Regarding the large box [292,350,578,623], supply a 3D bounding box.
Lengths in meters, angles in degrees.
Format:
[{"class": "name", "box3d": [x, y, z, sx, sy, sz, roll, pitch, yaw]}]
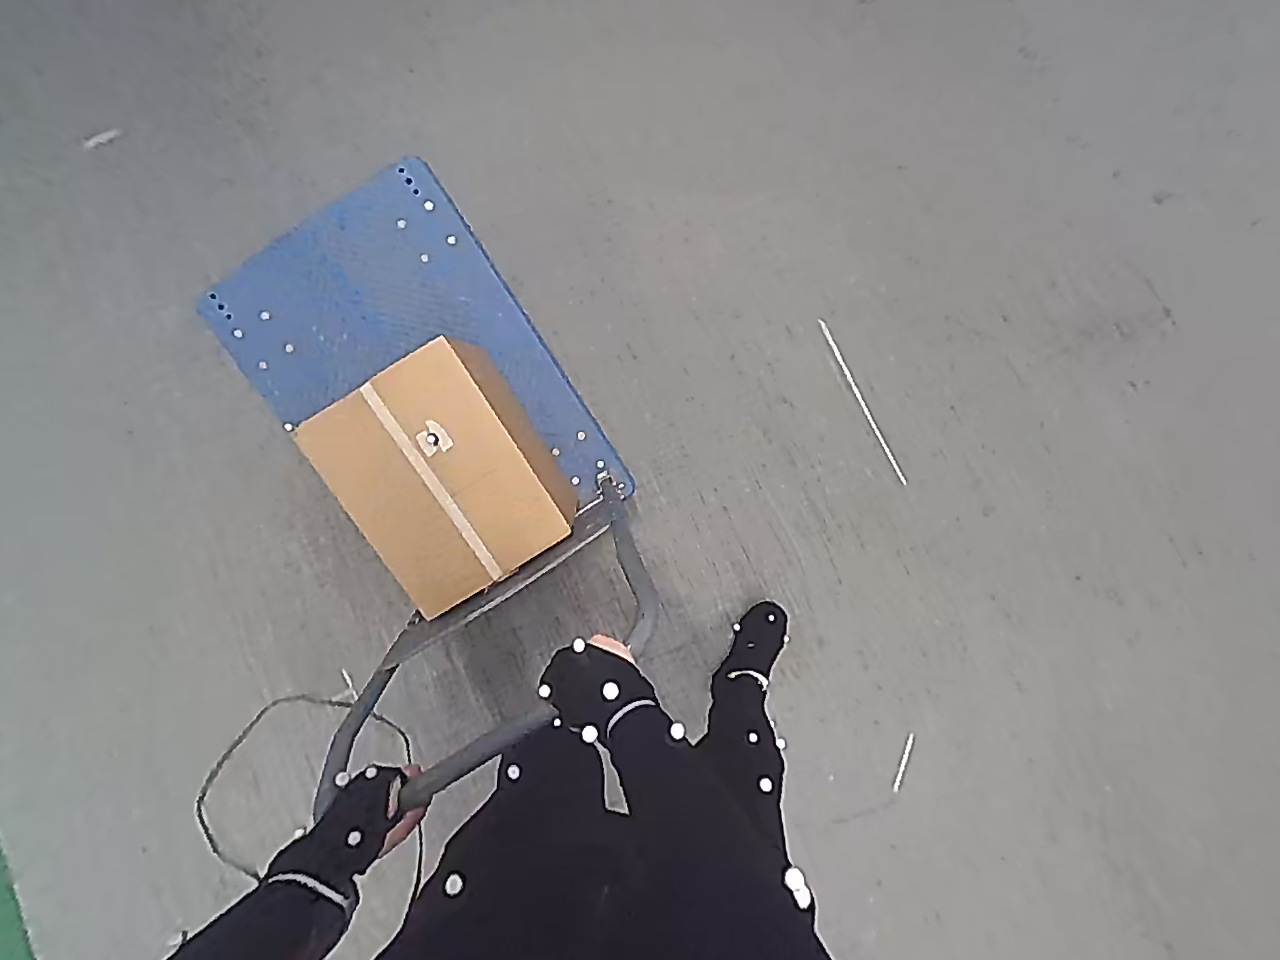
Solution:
[{"class": "large box", "box3d": [-0.368, -0.002, 1.094, 0.320, 0.320, 0.408, -33, 100, 1]}]
